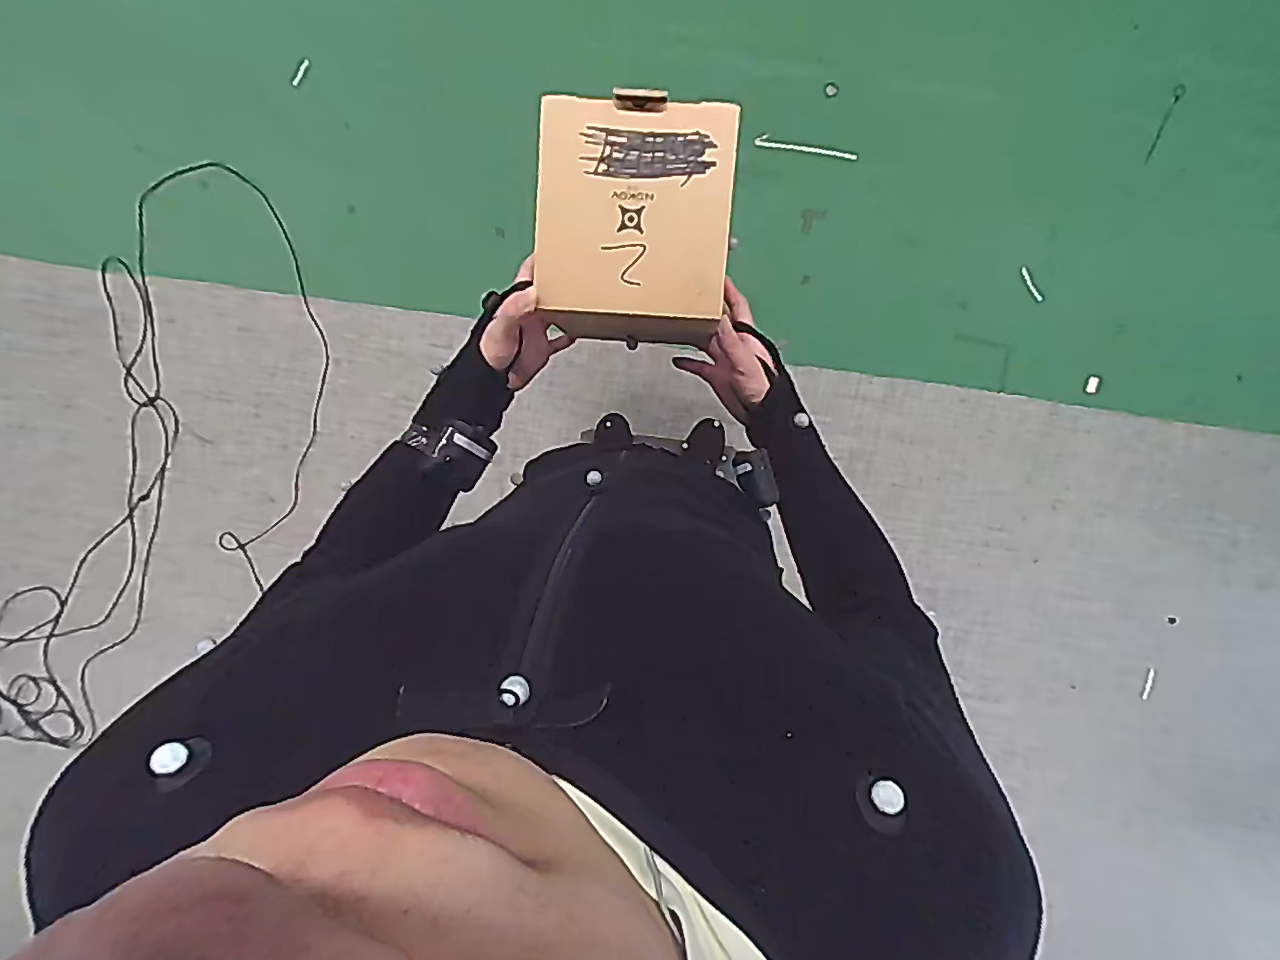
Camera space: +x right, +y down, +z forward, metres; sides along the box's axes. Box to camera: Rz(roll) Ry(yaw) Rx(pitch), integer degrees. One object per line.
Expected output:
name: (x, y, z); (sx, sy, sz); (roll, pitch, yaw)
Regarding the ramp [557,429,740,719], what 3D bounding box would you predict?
ramp: (0.004, 0.345, 1.760); (0.509, 0.206, 0.991); (6, 98, 1)
